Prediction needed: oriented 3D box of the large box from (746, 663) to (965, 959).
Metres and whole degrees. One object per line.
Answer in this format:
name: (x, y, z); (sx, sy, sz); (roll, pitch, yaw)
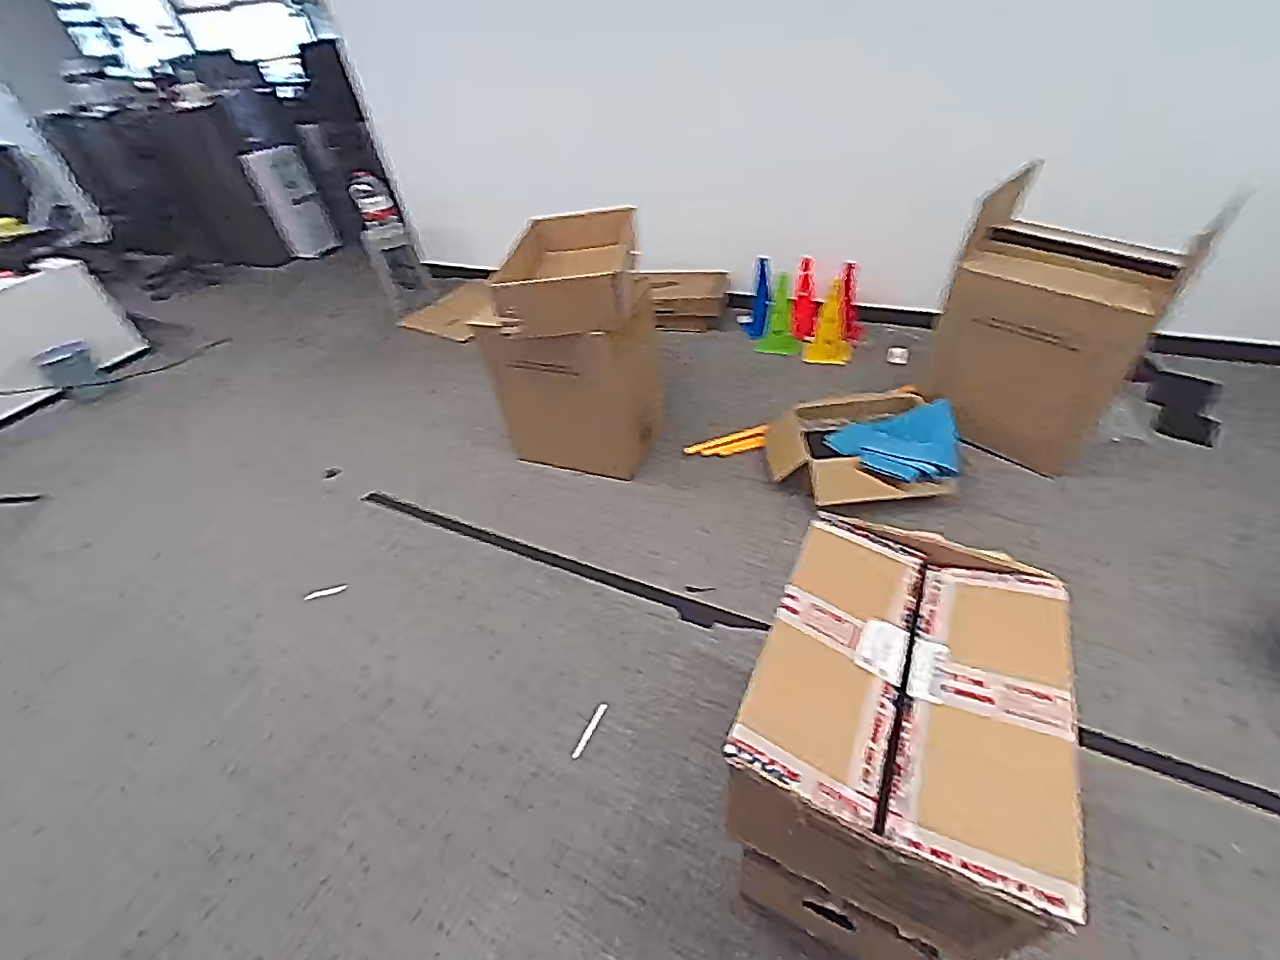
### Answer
large box: (0.423, 0.659, 1.081); (0.320, 0.320, 0.408); (14, 48, 24)
